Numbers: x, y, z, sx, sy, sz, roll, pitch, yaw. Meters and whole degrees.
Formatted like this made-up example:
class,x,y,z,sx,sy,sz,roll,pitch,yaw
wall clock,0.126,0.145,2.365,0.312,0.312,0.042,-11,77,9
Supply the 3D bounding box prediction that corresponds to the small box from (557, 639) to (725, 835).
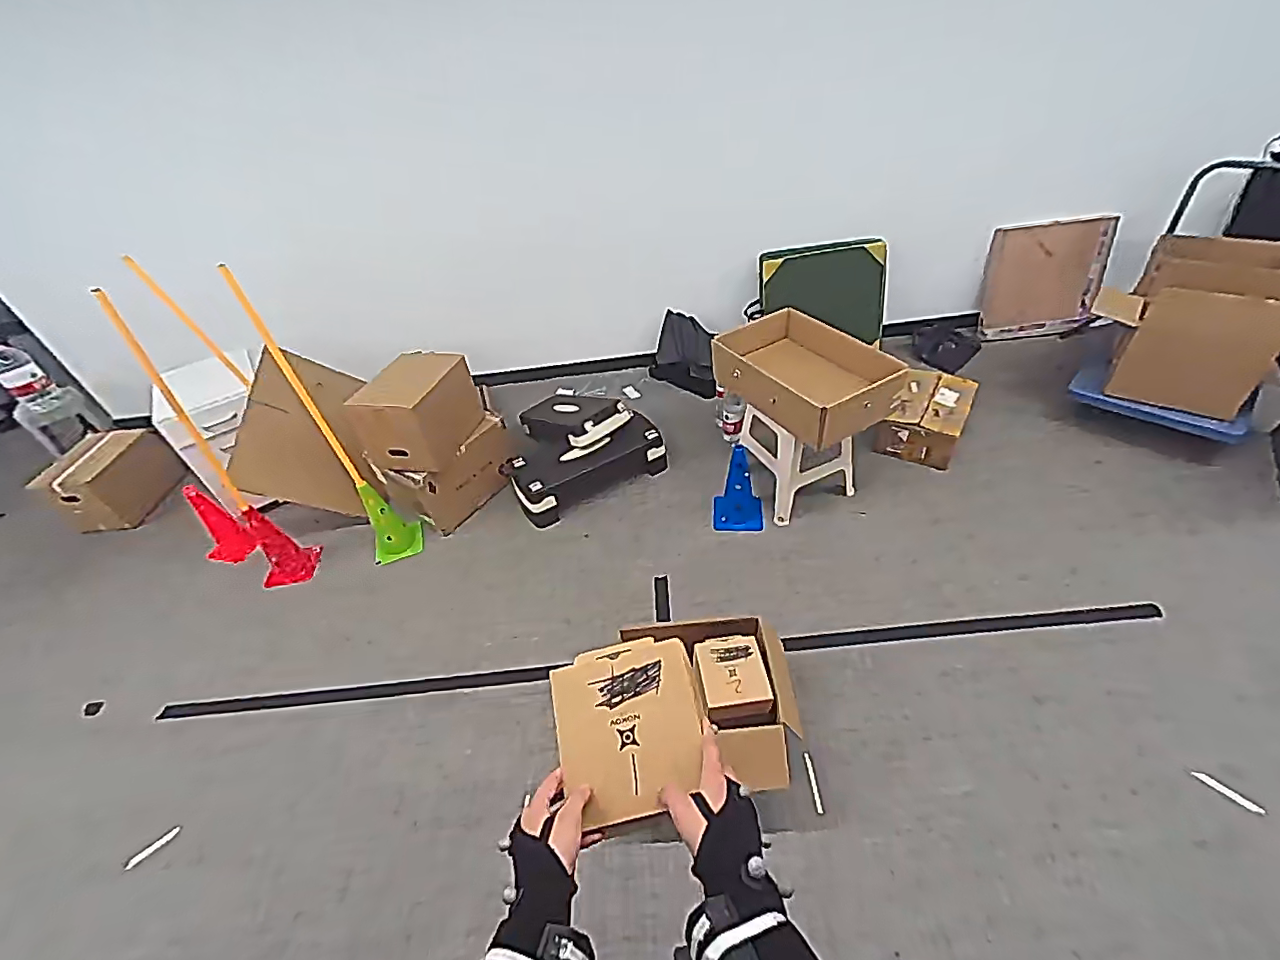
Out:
class,x,y,z,sx,sy,sz,roll,pitch,yaw
small box,0.004,0.323,0.673,0.168,0.176,0.179,-15,54,3
